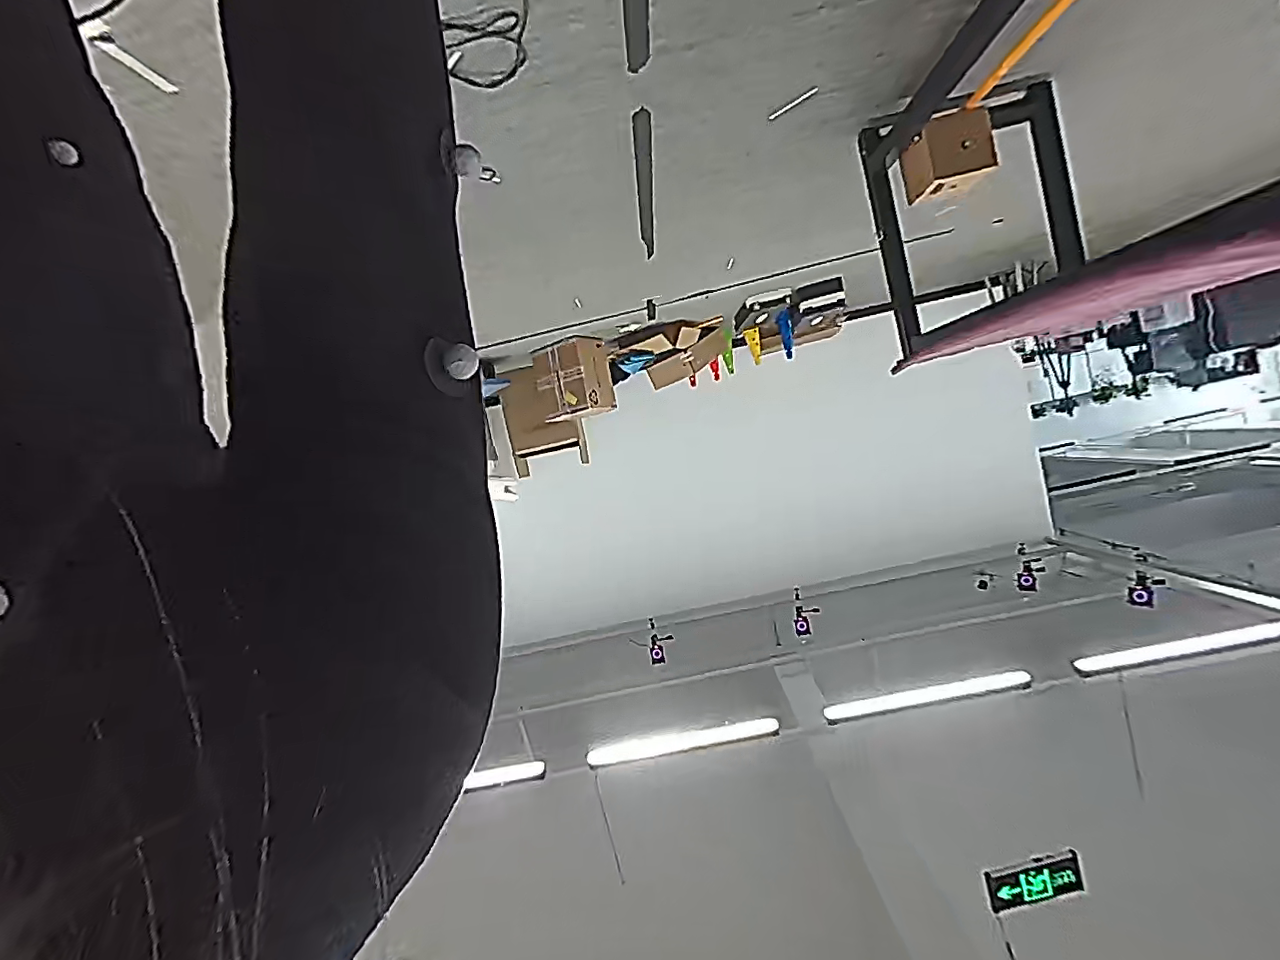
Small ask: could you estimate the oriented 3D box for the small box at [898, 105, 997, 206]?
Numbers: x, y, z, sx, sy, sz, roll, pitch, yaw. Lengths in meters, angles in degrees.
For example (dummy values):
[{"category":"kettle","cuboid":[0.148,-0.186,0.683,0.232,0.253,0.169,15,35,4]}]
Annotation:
[{"category":"small box","cuboid":[0.867,-0.921,1.541,0.179,0.176,0.168,-13,-178,2]}]
